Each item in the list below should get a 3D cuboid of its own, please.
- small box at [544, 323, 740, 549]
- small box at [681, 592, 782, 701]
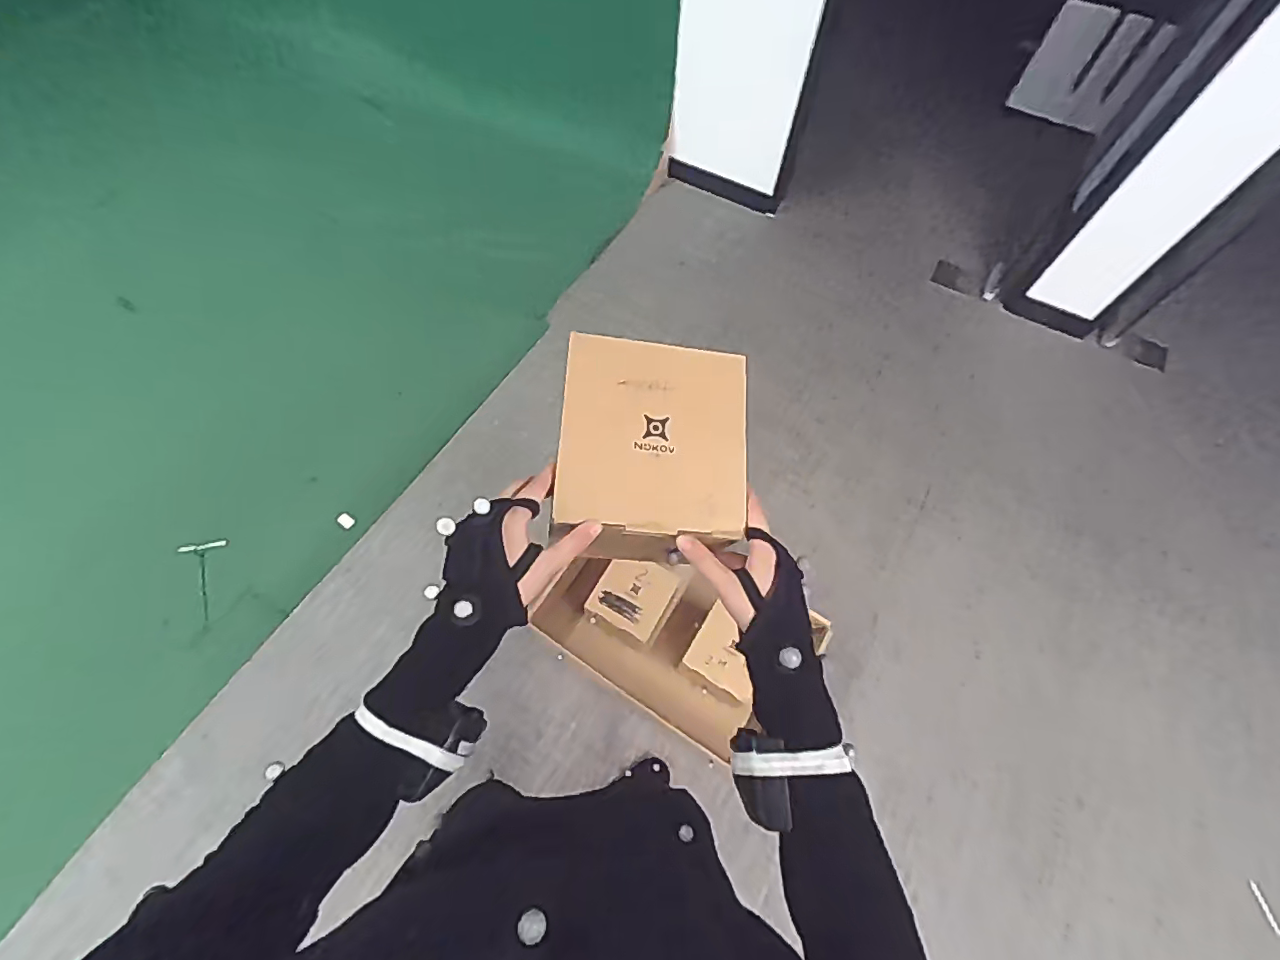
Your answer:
[{"bbox_3d":[-0.005,-0.030,0.548,0.168,0.176,0.179,6,73,-8],"label":"small box"},{"bbox_3d":[0.207,0.398,1.278,0.168,0.176,0.179,31,68,14],"label":"small box"}]
